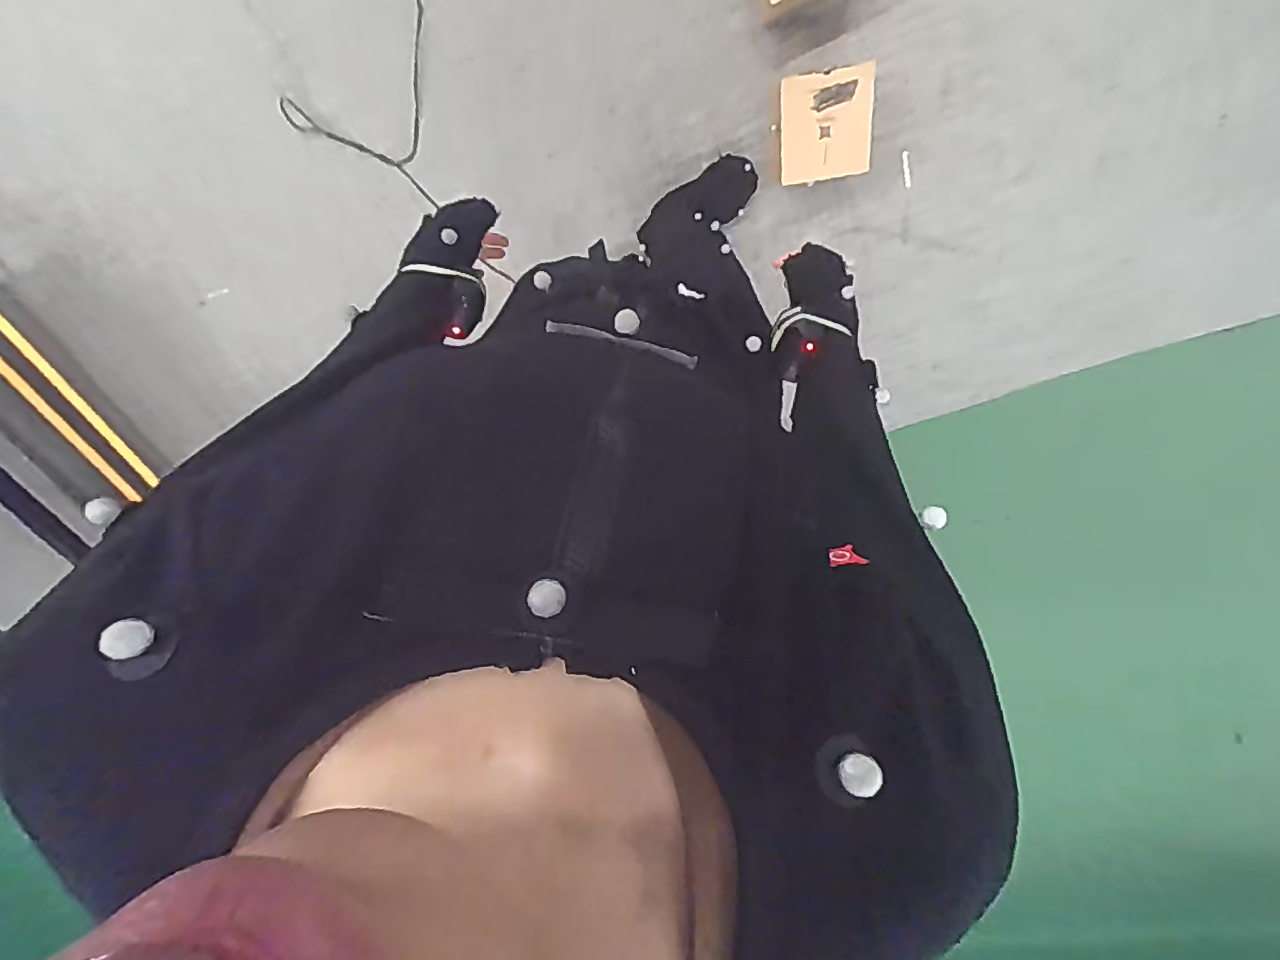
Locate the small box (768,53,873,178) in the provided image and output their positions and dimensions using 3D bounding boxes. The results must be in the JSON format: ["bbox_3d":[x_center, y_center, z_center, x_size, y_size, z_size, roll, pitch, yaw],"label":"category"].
[{"bbox_3d":[0.346,-0.709,1.066,0.168,0.176,0.179,-5,121,8],"label":"small box"}]
